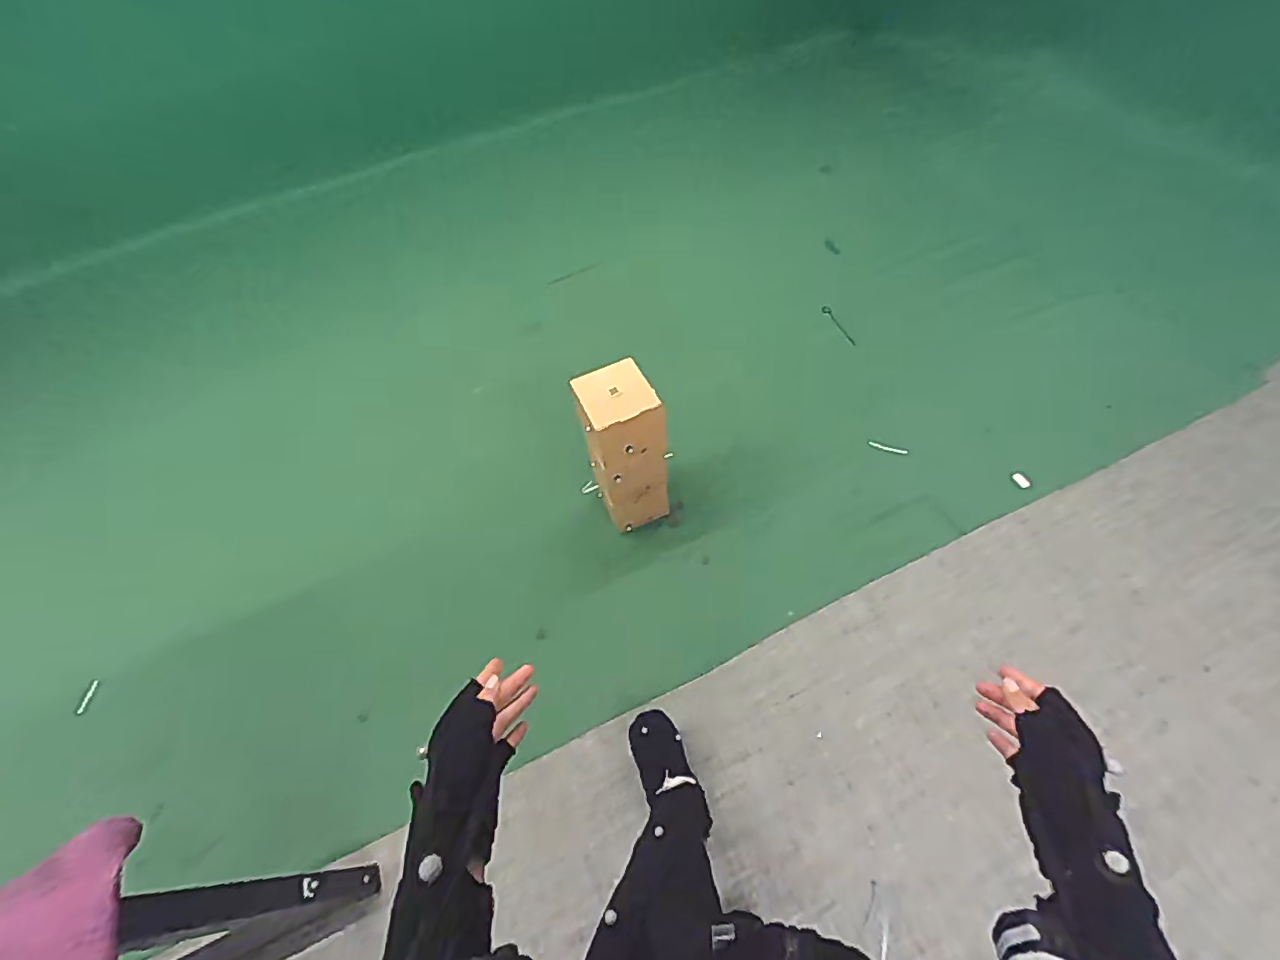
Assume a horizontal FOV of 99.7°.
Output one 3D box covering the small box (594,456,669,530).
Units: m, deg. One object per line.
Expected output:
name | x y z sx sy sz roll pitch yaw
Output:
small box | -0.021 0.028 1.601 0.168 0.176 0.179 -22 57 -8

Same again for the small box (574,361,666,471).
small box | -0.047 -0.154 1.330 0.168 0.176 0.179 -24 58 -10
